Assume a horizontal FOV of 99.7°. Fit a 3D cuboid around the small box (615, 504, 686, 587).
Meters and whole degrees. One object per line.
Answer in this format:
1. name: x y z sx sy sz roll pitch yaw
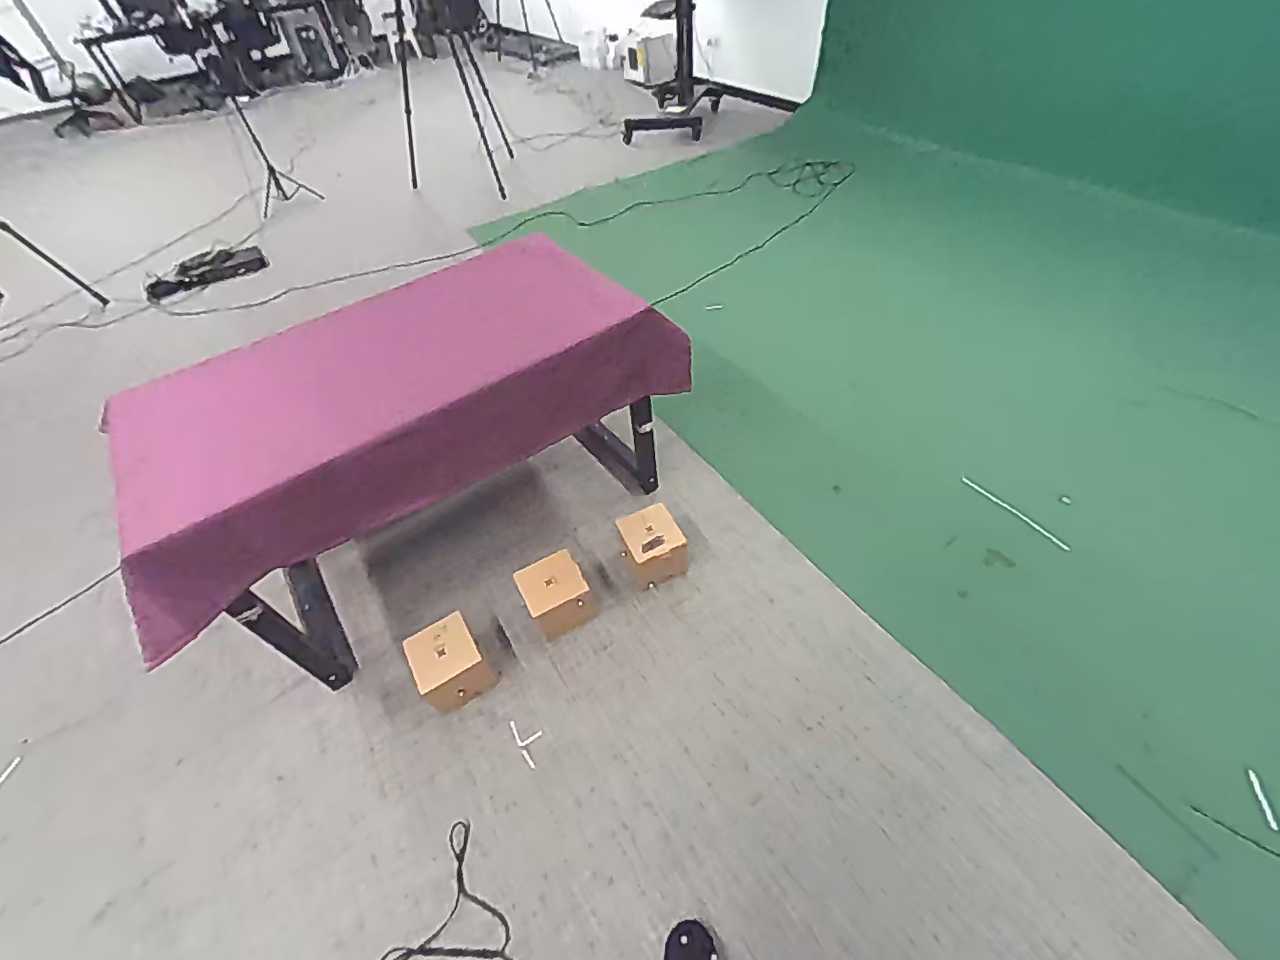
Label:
1. small box: 0.037 0.212 1.687 0.168 0.176 0.179 -22 50 -13
